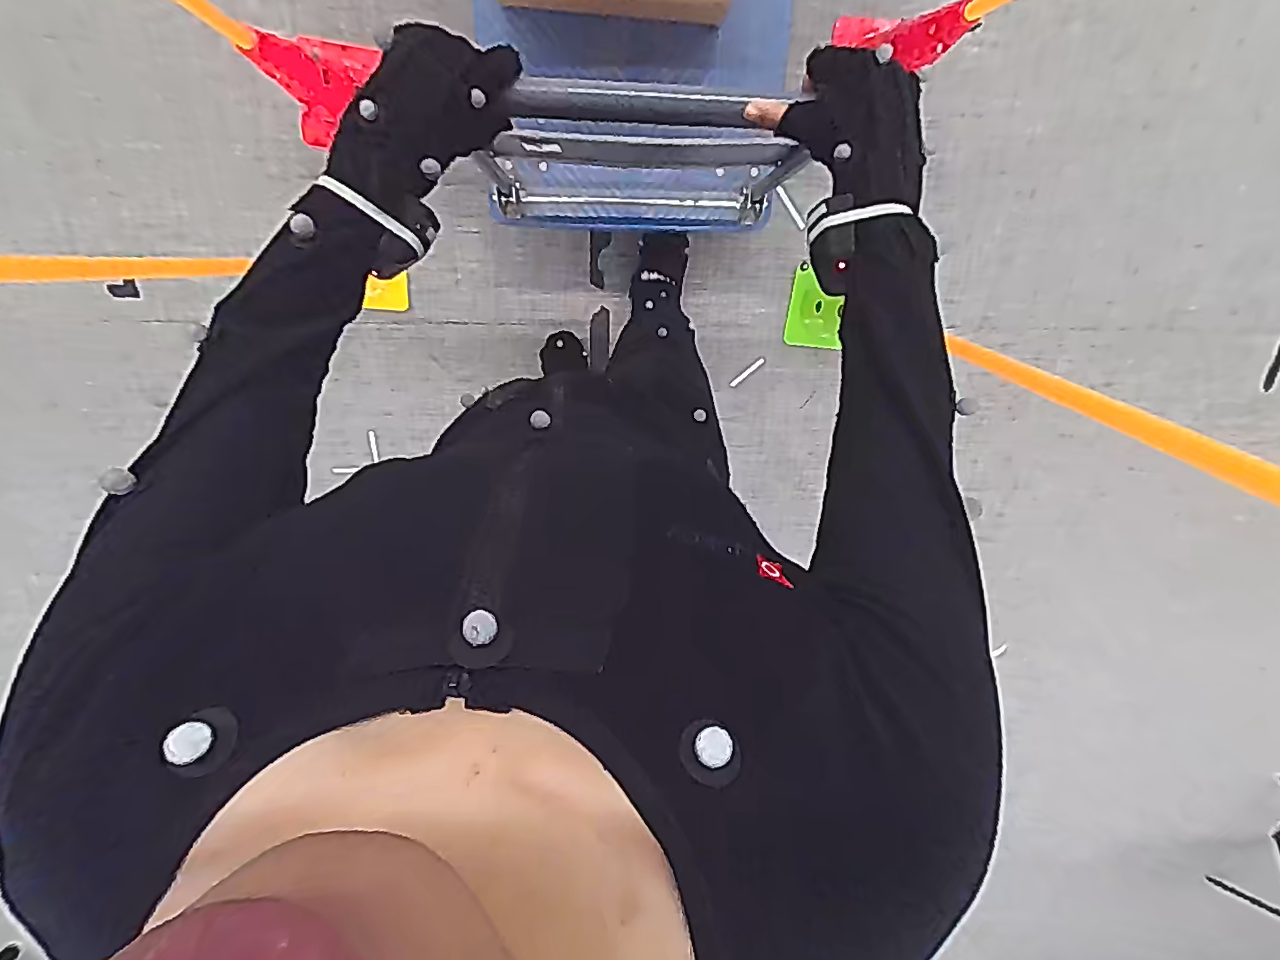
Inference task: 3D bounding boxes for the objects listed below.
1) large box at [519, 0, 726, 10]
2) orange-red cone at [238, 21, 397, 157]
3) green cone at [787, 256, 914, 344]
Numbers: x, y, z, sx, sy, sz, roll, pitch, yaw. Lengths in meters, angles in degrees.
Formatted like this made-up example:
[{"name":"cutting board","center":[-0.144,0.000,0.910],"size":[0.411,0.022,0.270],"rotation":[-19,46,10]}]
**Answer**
[{"name":"large box","center":[-0.038,-0.937,0.787],"size":[0.408,0.320,0.320],"rotation":[2,113,-2]},{"name":"orange-red cone","center":[-0.612,-0.755,0.996],"size":[0.198,0.360,0.199],"rotation":[7,111,-6]},{"name":"green cone","center":[0.488,-0.381,1.194],"size":[0.202,0.368,0.200],"rotation":[3,112,-5]}]
